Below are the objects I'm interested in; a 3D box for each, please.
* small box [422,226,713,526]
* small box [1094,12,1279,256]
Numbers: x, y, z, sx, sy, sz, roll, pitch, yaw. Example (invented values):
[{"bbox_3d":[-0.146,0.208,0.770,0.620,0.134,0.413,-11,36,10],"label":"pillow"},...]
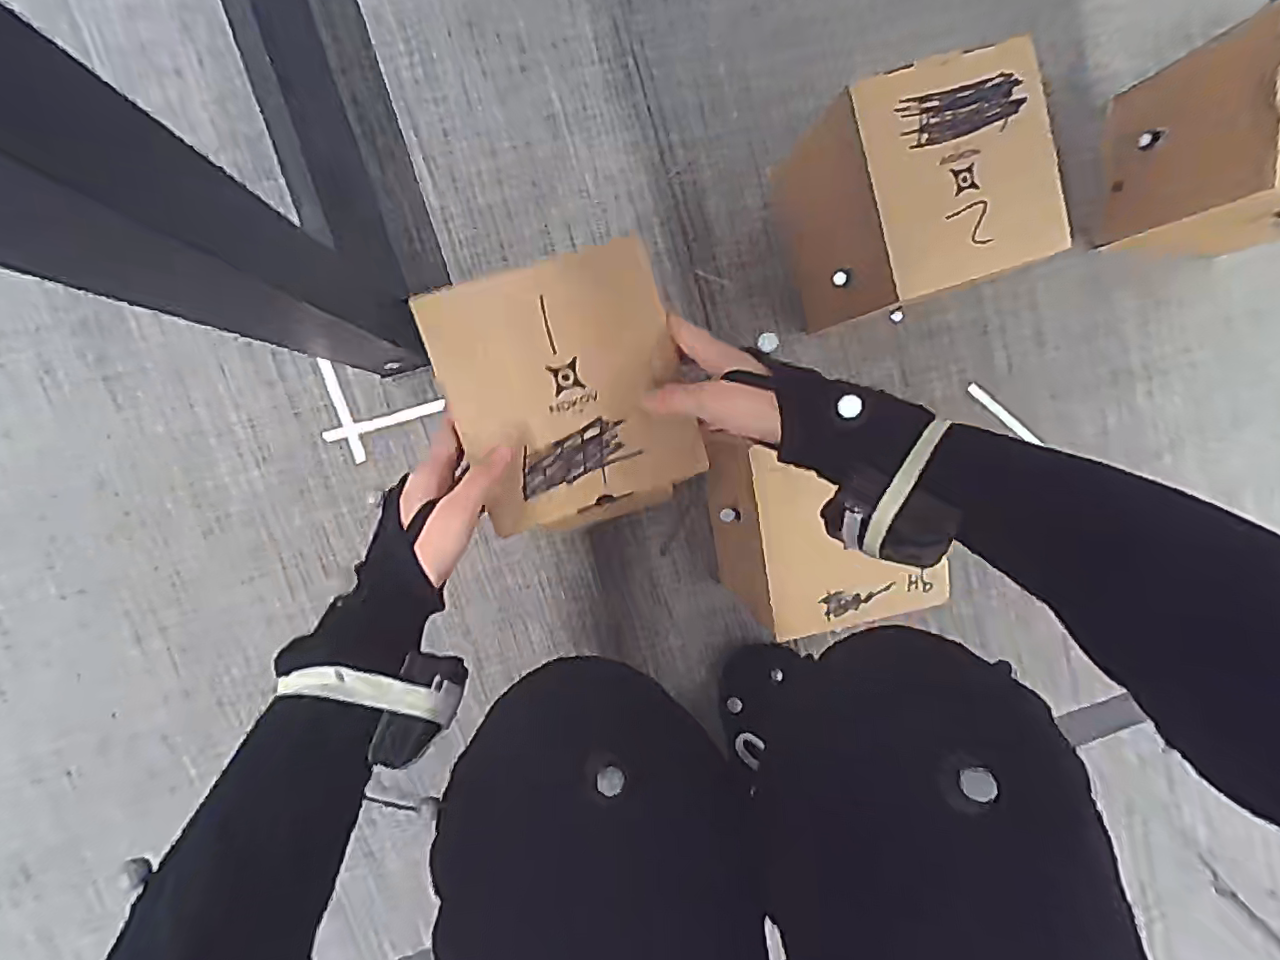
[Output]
[{"bbox_3d":[-0.055,-0.083,0.455,0.168,0.176,0.179,-17,100,-5],"label":"small box"},{"bbox_3d":[0.634,-0.343,0.563,0.179,0.176,0.168,0,96,-7],"label":"small box"}]
